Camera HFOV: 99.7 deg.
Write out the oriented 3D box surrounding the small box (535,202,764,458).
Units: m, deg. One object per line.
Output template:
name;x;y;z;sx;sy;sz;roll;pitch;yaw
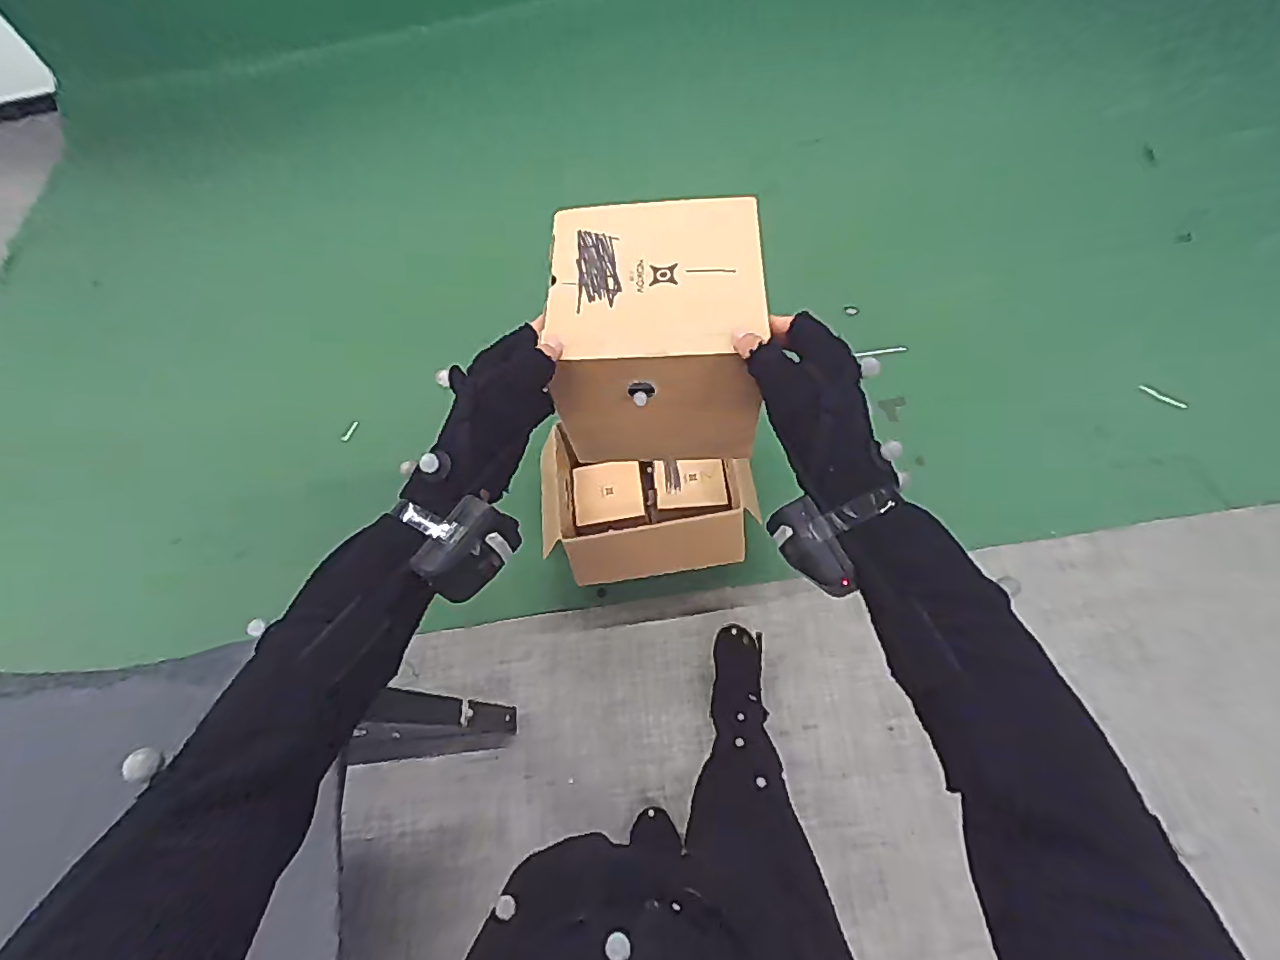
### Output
small box;0.016;-0.129;0.509;0.179;0.176;0.168;-1;64;5
